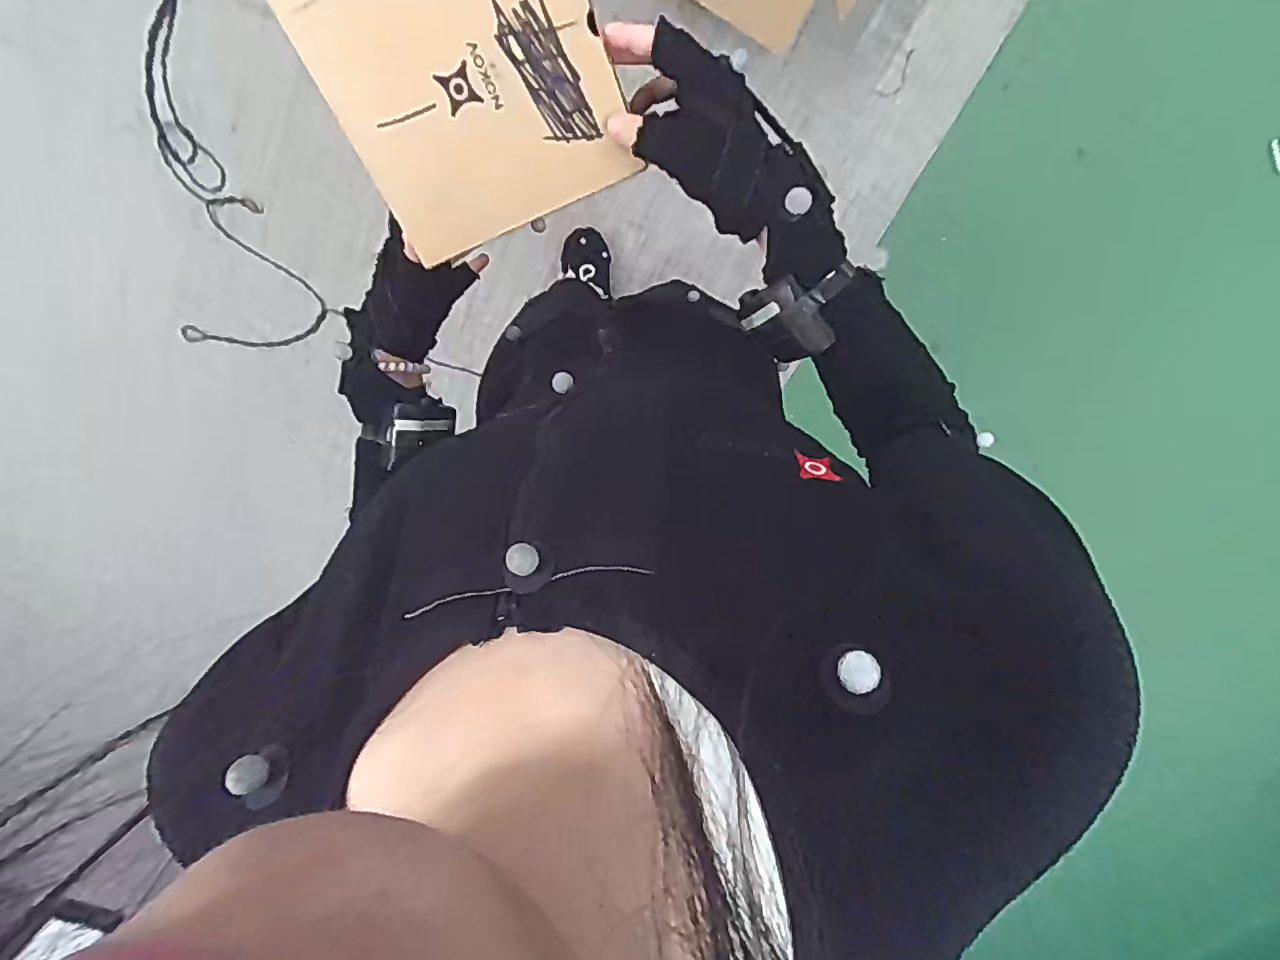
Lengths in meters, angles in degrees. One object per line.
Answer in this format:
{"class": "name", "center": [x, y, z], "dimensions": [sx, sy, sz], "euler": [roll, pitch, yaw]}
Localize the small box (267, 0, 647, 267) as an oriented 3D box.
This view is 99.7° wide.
{"class": "small box", "center": [-0.110, -0.285, 0.396], "dimensions": [0.179, 0.176, 0.168], "euler": [-20, 122, 8]}
